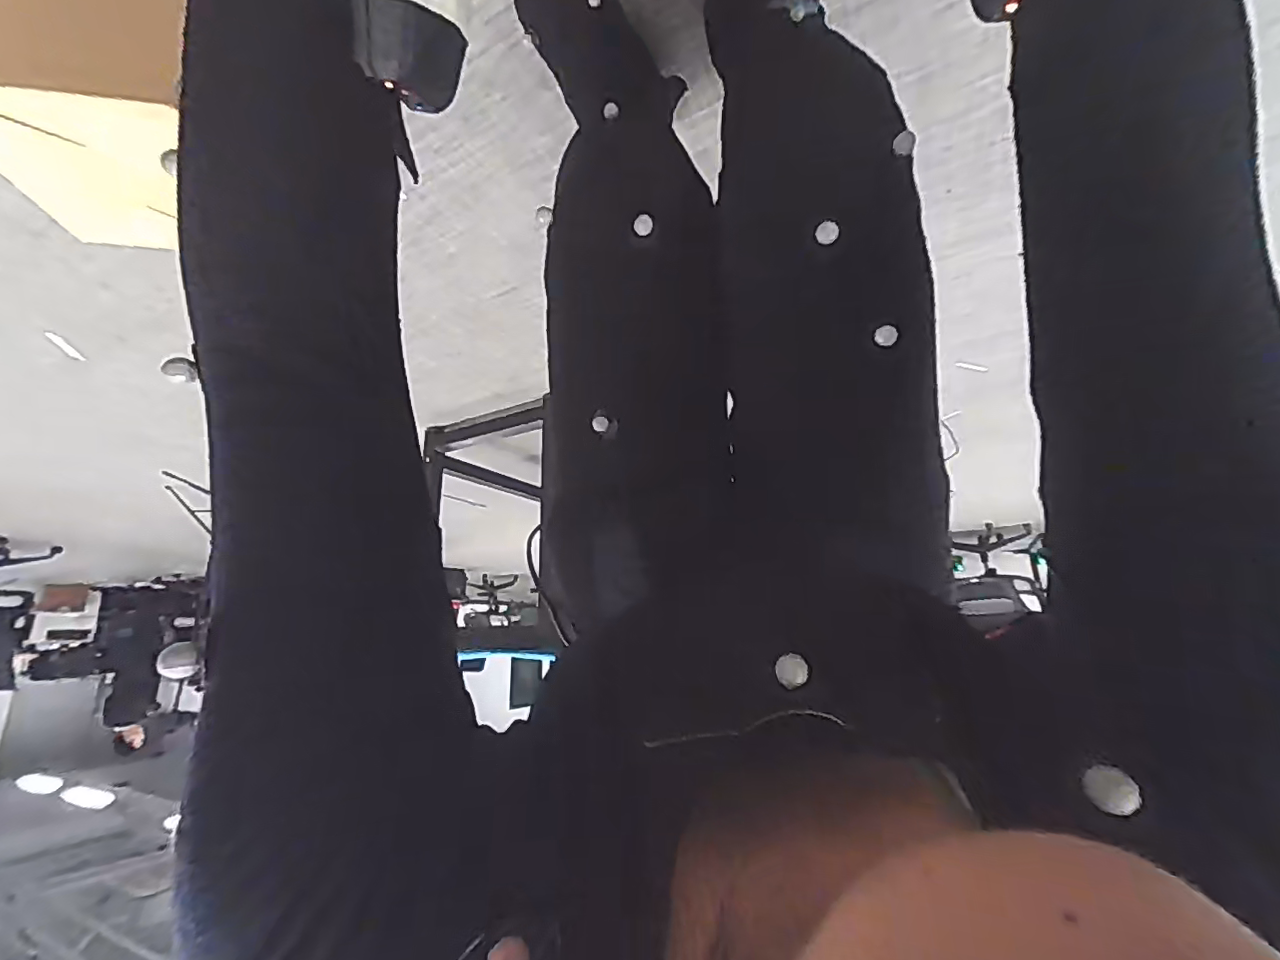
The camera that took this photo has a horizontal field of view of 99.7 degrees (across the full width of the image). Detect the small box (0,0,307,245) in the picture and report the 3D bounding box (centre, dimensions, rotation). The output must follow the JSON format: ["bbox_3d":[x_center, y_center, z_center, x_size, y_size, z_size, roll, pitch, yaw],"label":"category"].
[{"bbox_3d":[-0.430,-0.329,0.473,0.179,0.176,0.168,1,164,-9],"label":"small box"}]
